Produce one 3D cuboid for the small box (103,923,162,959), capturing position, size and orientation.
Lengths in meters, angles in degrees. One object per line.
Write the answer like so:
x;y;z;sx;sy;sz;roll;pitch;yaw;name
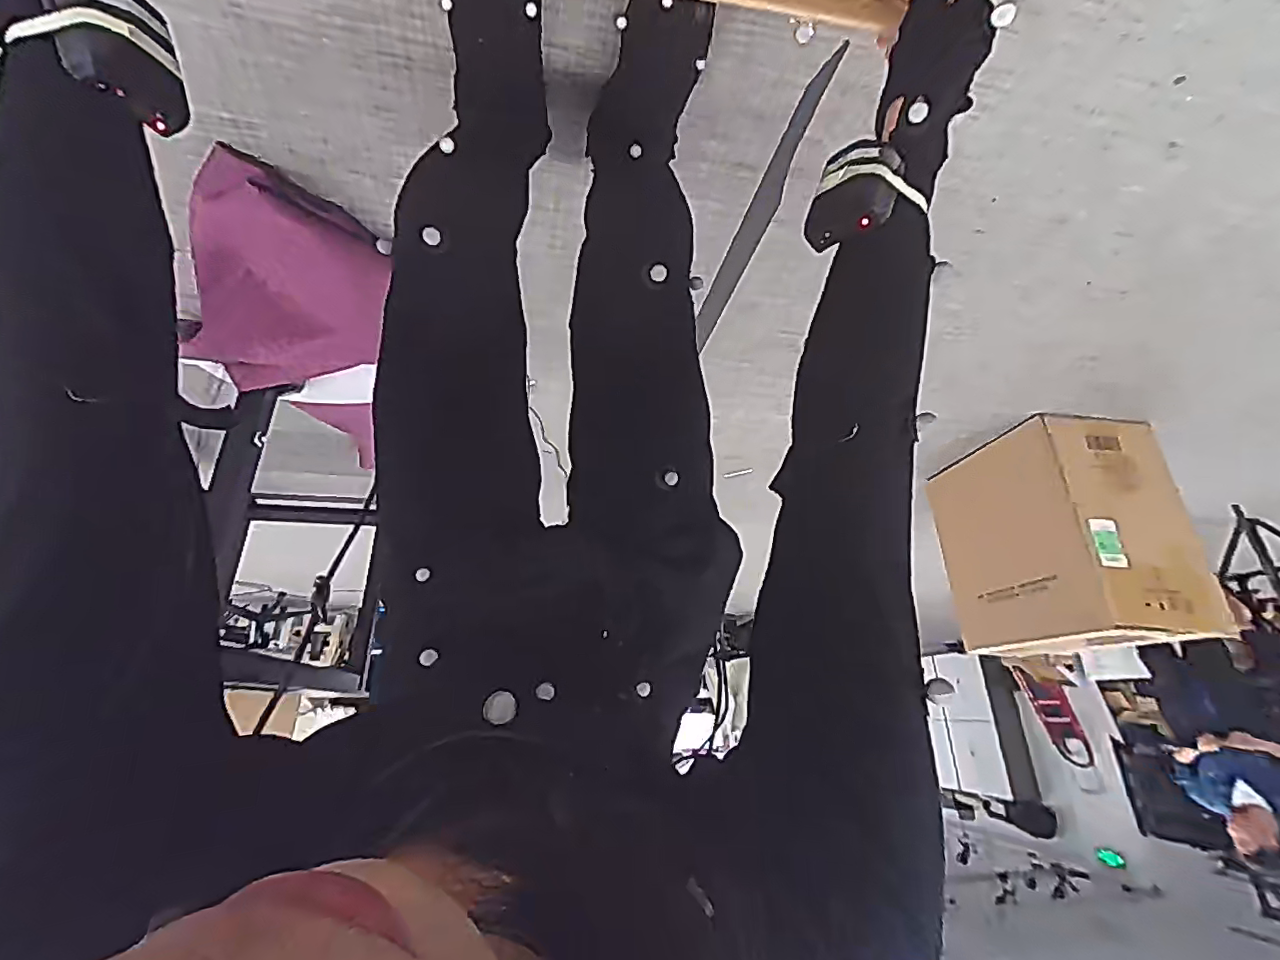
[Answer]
-1.119;1.019;1.087;0.179;0.176;0.168;-2;156;1;small box
